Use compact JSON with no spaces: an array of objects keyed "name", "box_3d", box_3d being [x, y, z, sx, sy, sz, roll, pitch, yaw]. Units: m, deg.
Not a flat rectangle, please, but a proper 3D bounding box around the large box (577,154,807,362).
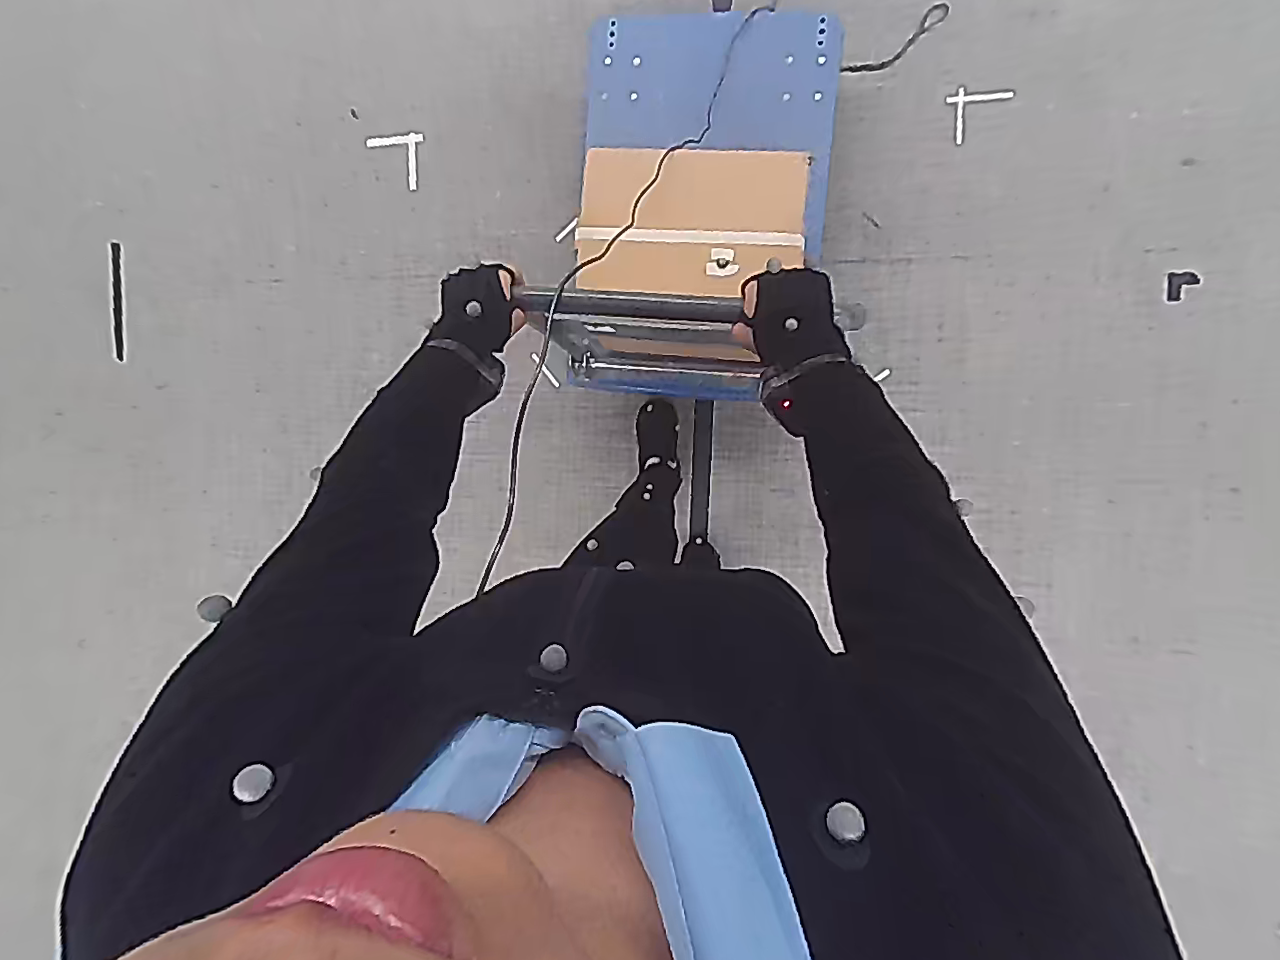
[{"name":"large box","box_3d":[0.103,-0.436,1.127,0.408,0.320,0.320,6,93,6]}]
